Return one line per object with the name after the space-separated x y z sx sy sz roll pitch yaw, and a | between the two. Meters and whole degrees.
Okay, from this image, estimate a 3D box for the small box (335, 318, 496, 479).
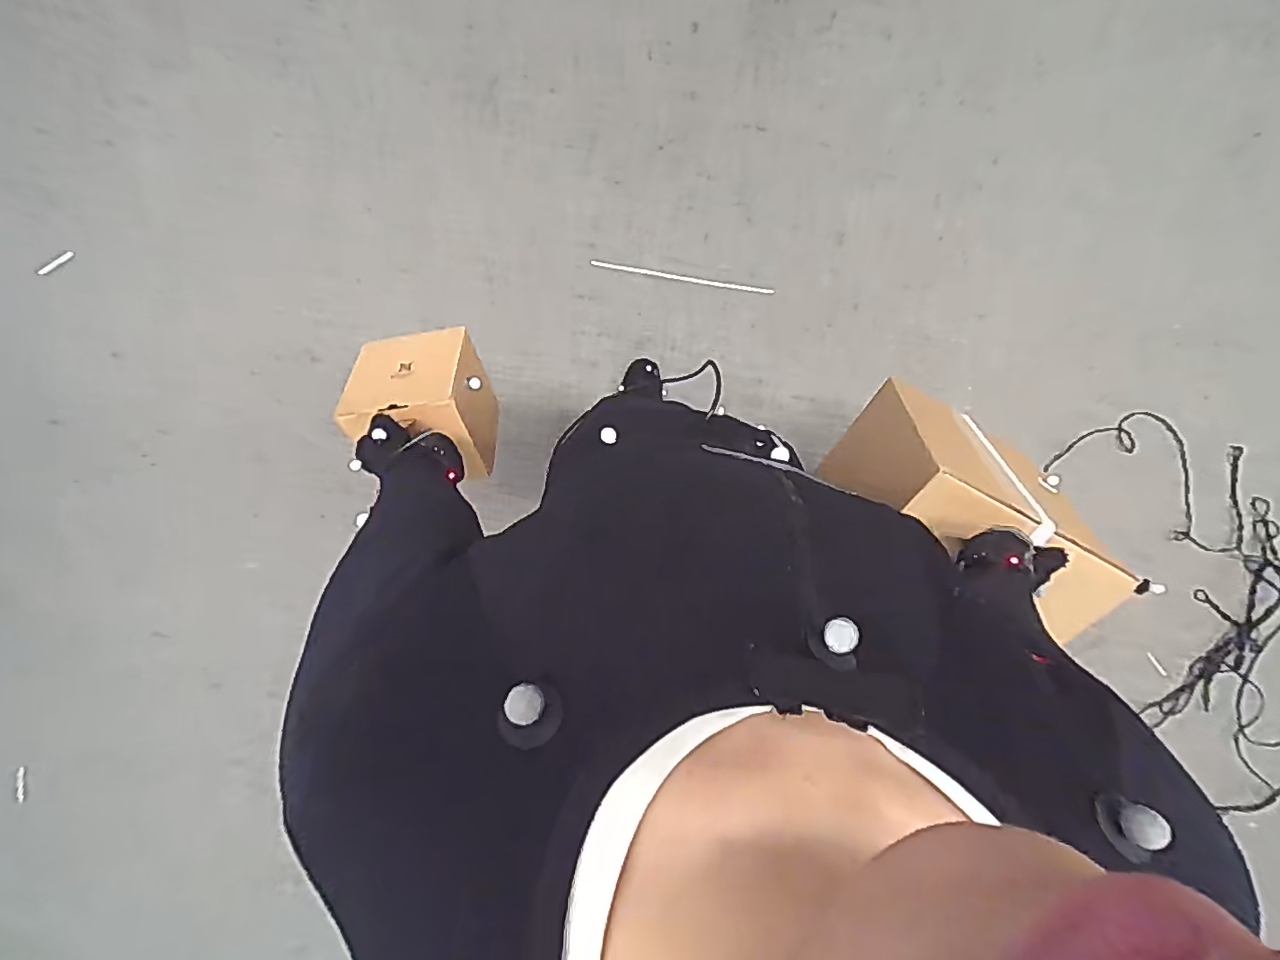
-0.335 -0.126 0.850 0.168 0.179 0.176 -8 141 2 | small box
